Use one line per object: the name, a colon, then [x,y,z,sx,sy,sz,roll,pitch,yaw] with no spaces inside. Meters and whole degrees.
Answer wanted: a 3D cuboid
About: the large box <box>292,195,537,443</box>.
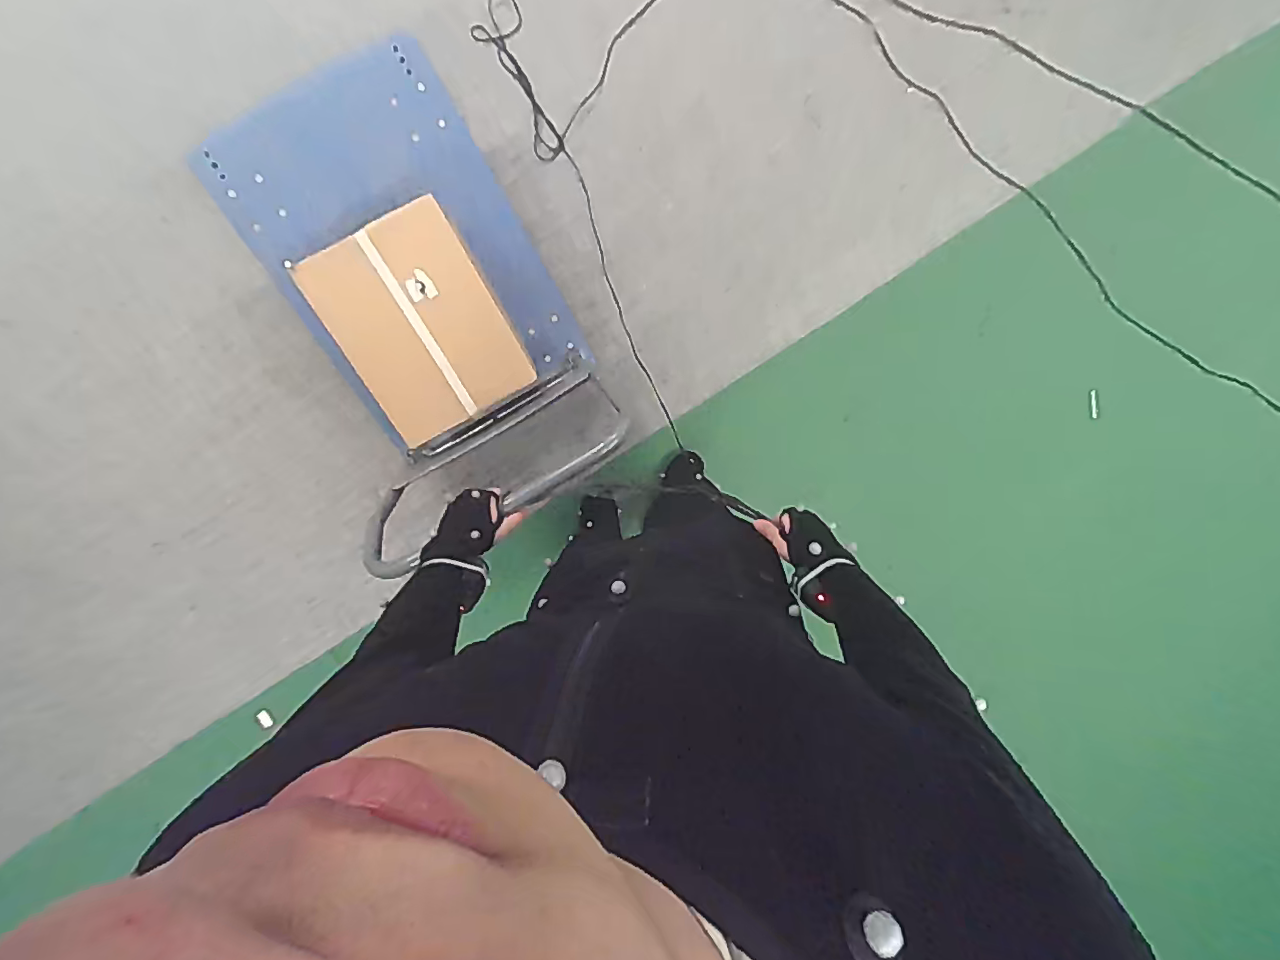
large box: [-0.468,-0.350,1.237,0.320,0.320,0.408,-29,108,-3]
